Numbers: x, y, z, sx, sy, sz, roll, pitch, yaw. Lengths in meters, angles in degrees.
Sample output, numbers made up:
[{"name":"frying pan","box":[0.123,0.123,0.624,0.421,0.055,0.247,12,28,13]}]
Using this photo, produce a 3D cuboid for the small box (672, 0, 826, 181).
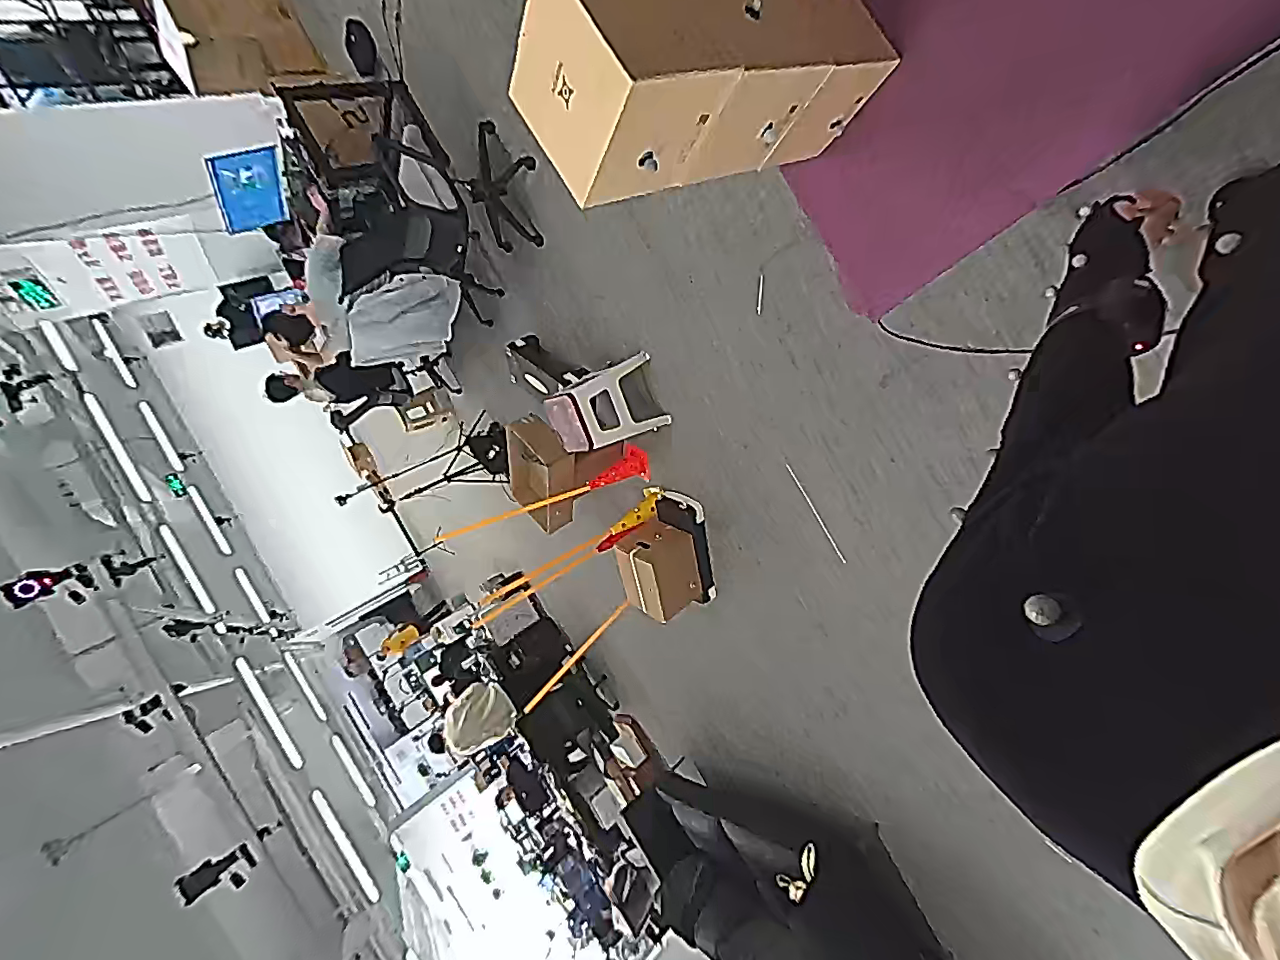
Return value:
[{"name":"small box","box":[0.101,-0.533,0.706,0.179,0.176,0.168,58,151,3]}]

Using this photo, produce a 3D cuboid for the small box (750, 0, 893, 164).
[{"name":"small box","box":[0.223,-0.603,0.788,0.179,0.176,0.168,58,150,2]}]

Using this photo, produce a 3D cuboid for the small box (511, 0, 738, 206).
[{"name":"small box","box":[-0.020,-0.461,0.625,0.179,0.176,0.168,58,151,3]}]
